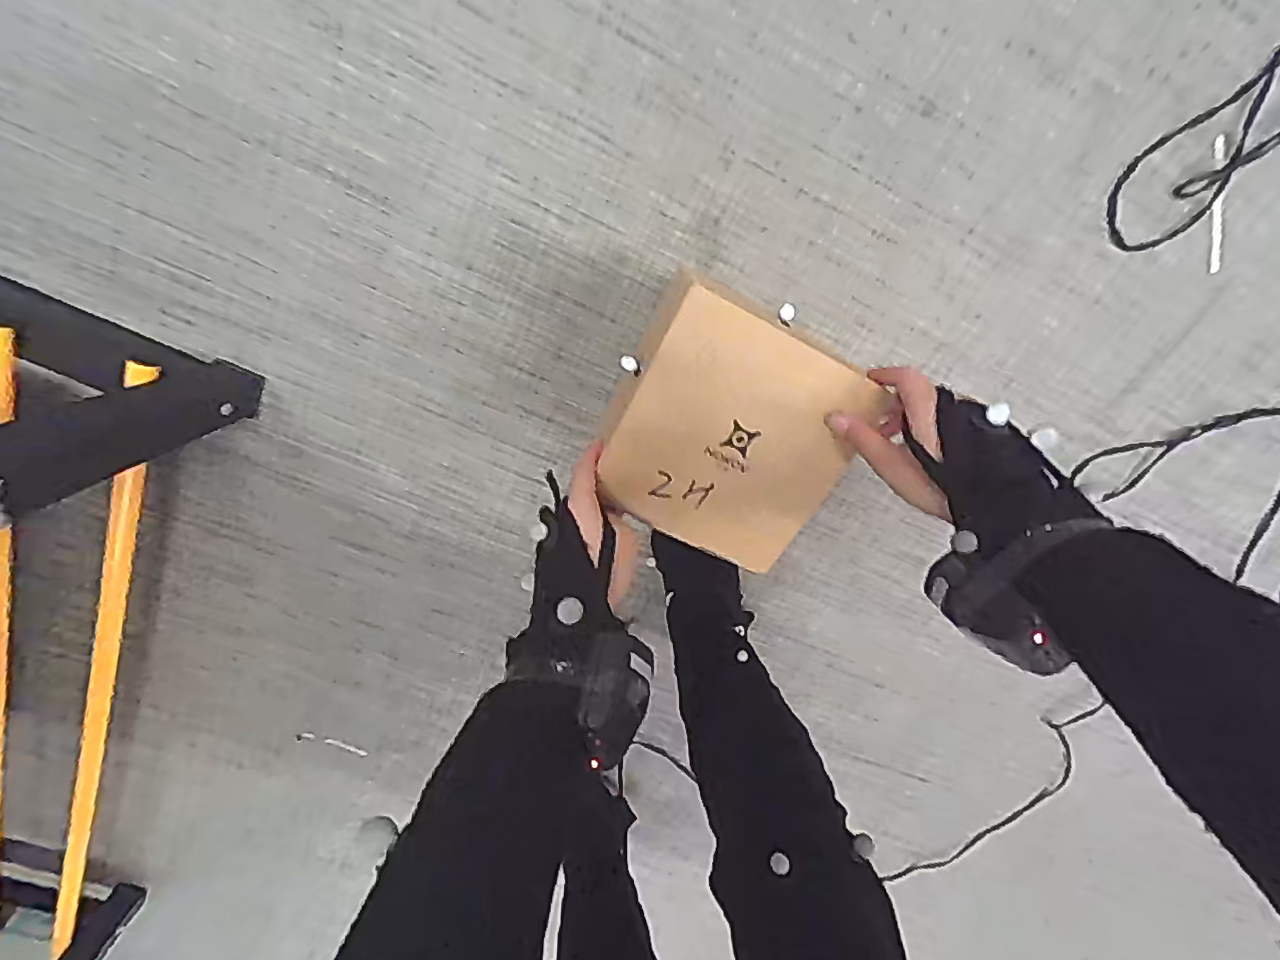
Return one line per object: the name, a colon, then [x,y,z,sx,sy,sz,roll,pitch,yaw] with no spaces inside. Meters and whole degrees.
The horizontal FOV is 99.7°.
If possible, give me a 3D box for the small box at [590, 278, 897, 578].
small box: [0.072,-0.056,0.467,0.168,0.176,0.179,26,113,-10]
